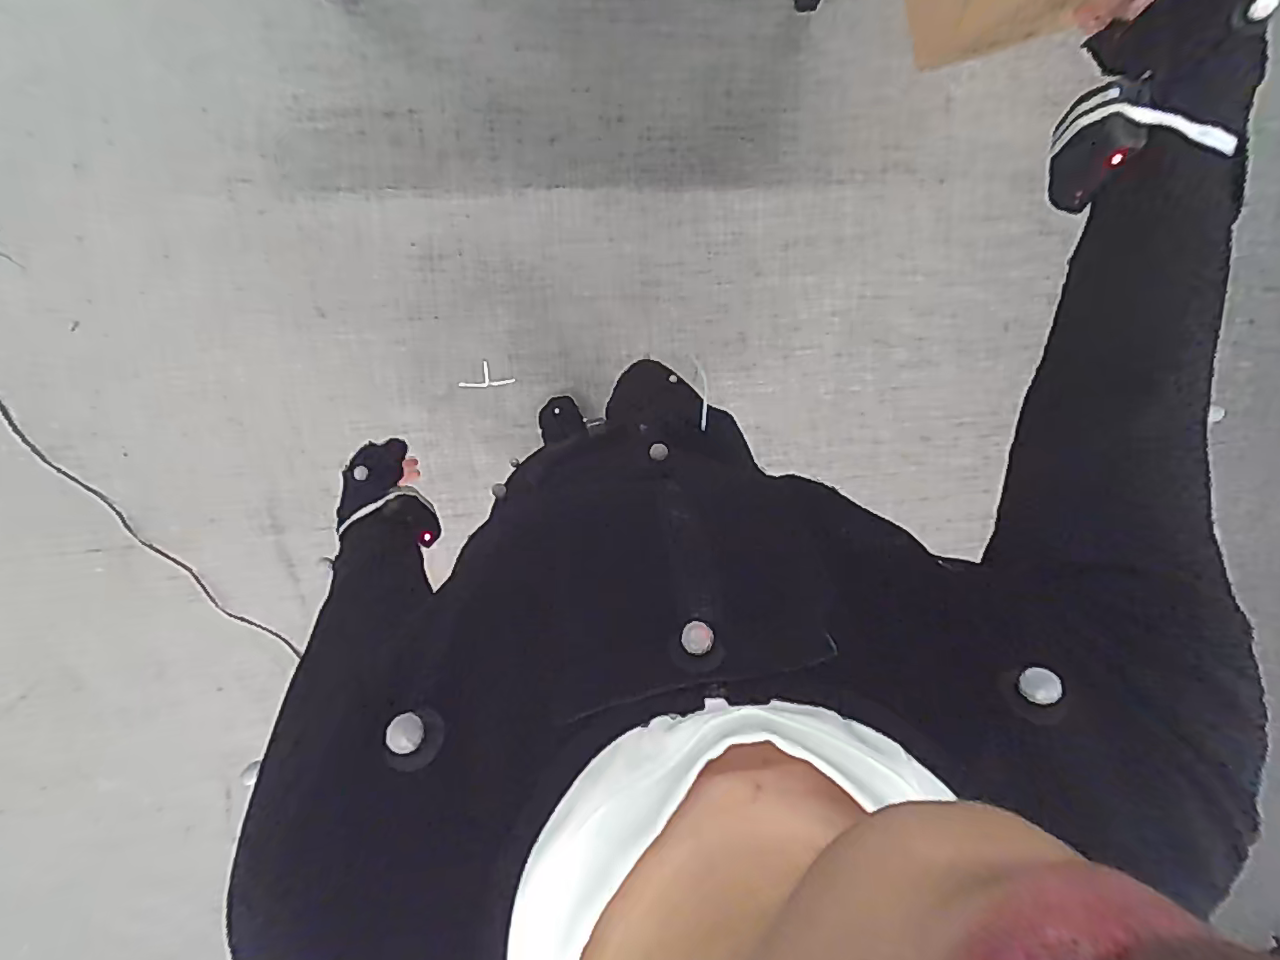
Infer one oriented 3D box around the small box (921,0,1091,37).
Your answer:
[{"bbox_3d":[0.332,-0.487,0.415,0.168,0.176,0.179,-19,102,-7],"label":"small box"}]
